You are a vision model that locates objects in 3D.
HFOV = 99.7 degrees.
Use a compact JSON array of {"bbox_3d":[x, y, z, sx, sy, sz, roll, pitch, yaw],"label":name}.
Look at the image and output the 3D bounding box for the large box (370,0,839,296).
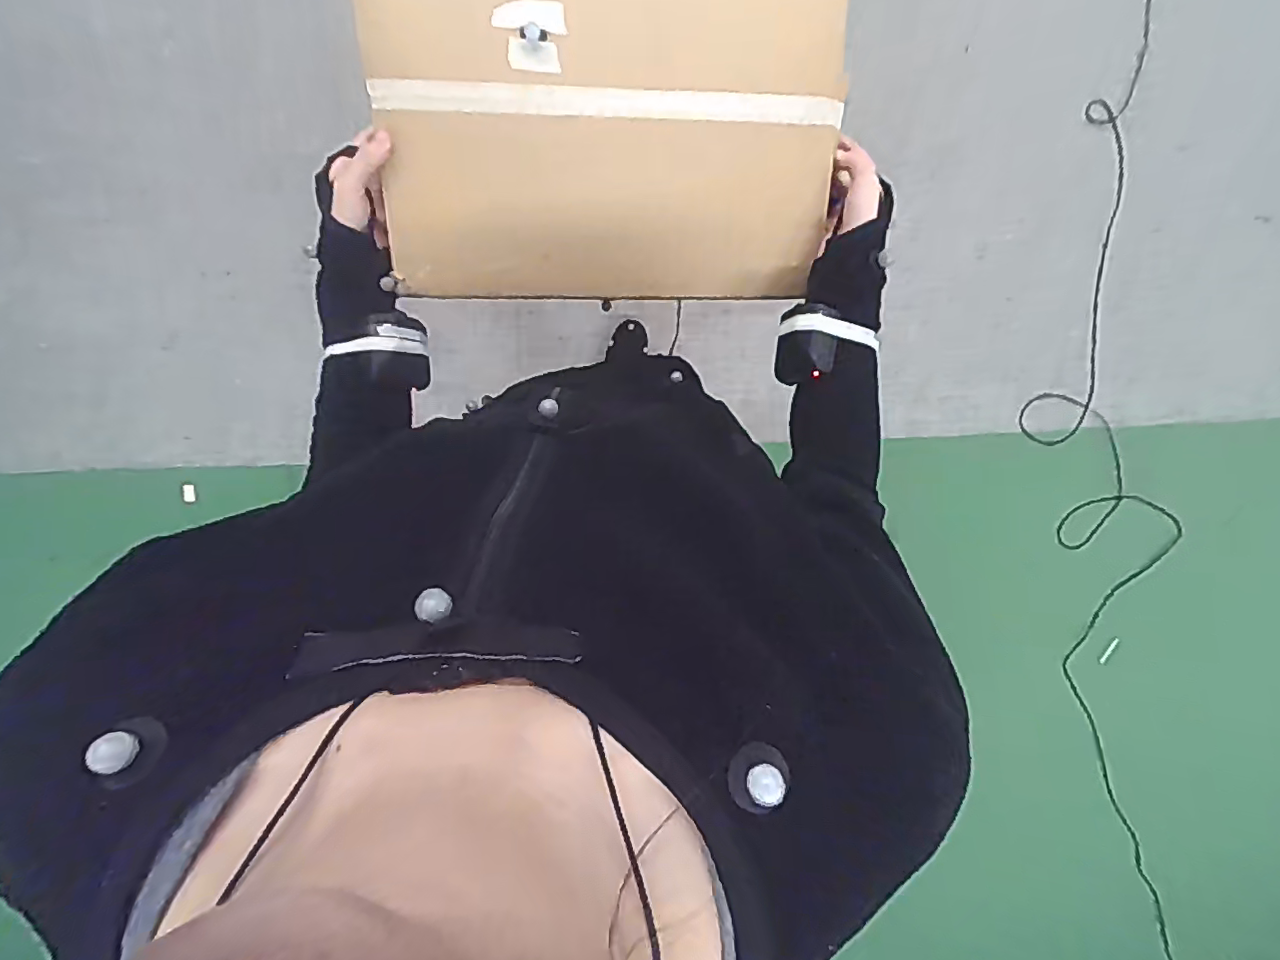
[{"bbox_3d":[-0.038,-0.383,0.620,0.408,0.320,0.320,-2,110,-6],"label":"large box"}]
